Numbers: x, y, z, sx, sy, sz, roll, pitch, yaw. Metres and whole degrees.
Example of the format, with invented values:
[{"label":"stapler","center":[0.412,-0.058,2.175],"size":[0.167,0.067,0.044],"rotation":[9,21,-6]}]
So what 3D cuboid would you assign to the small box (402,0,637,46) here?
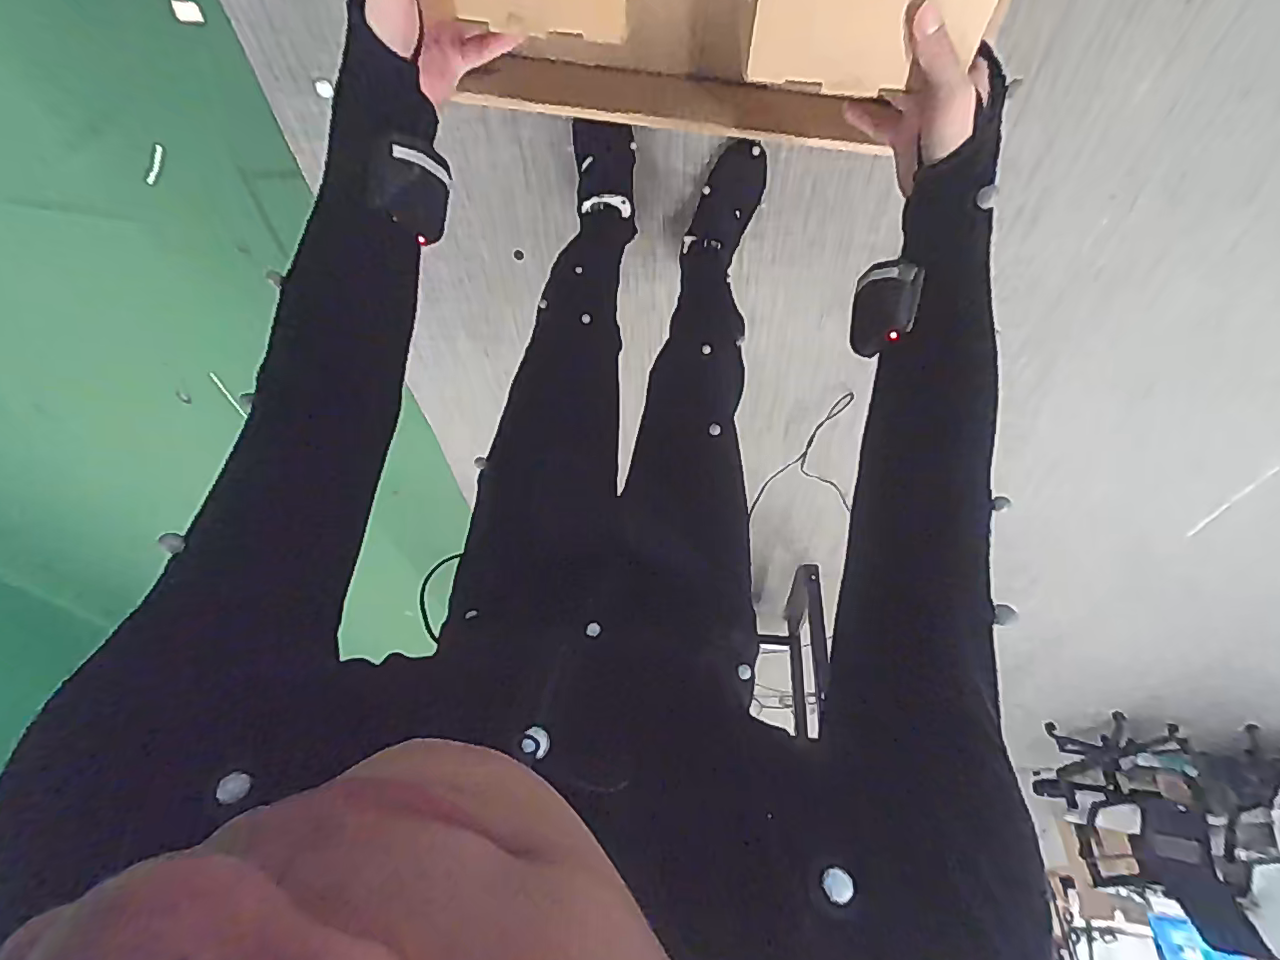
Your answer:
[{"label":"small box","center":[-0.080,-0.451,0.388],"size":[0.168,0.176,0.179],"rotation":[7,142,0]}]

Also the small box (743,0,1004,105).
[{"label":"small box","center":[0.173,-0.409,0.394],"size":[0.168,0.176,0.179],"rotation":[6,140,1]}]
